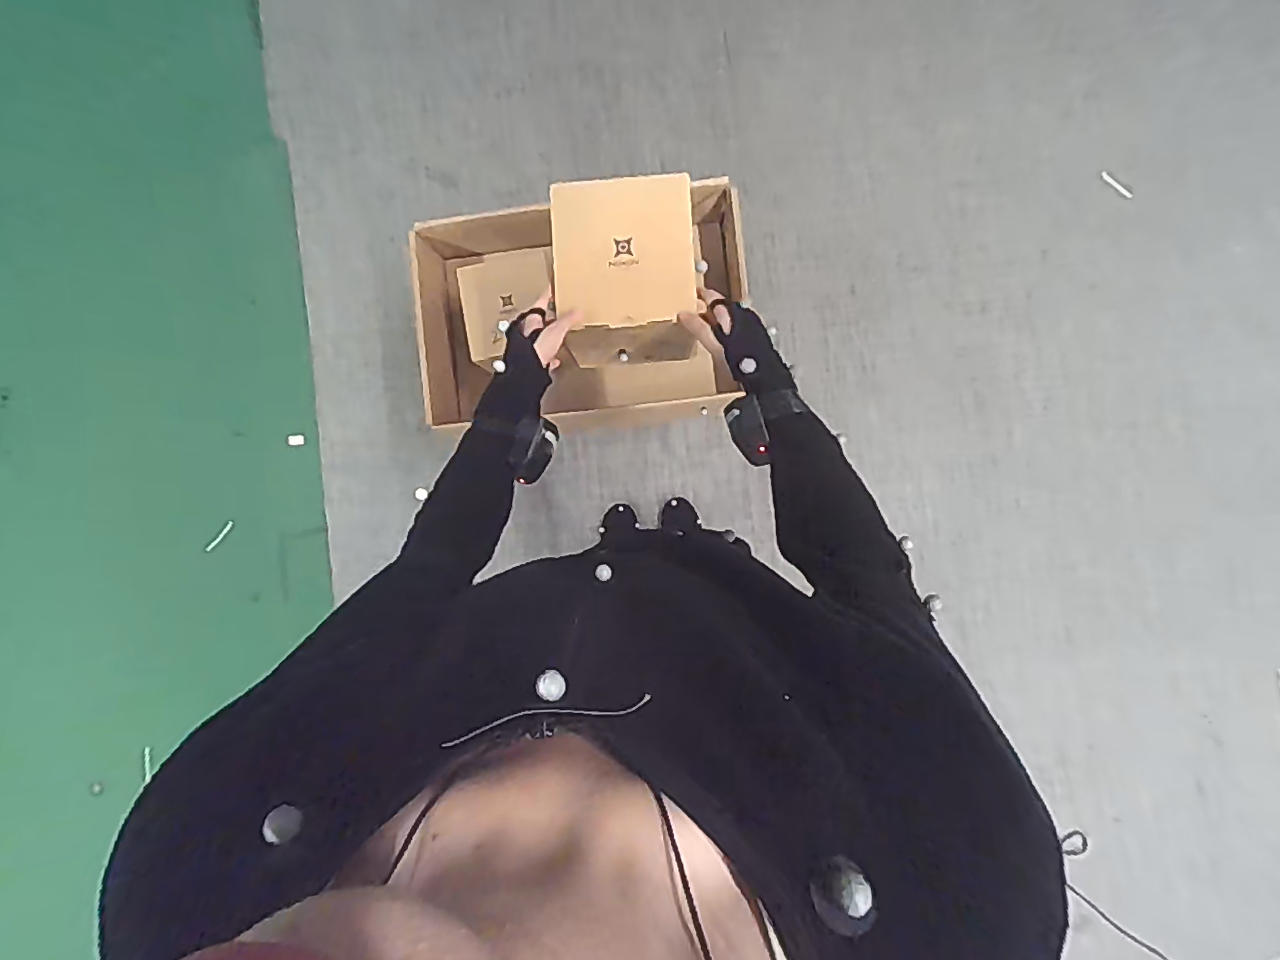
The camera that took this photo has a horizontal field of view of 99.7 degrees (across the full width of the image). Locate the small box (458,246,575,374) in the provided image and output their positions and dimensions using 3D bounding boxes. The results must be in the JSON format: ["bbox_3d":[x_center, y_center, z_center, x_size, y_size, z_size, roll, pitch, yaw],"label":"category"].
[{"bbox_3d":[-0.229,-0.317,1.041,0.168,0.176,0.179,-9,89,4],"label":"small box"}]

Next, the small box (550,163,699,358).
[{"bbox_3d":[-0.016,-0.267,0.691,0.168,0.176,0.179,-3,88,2],"label":"small box"}]
